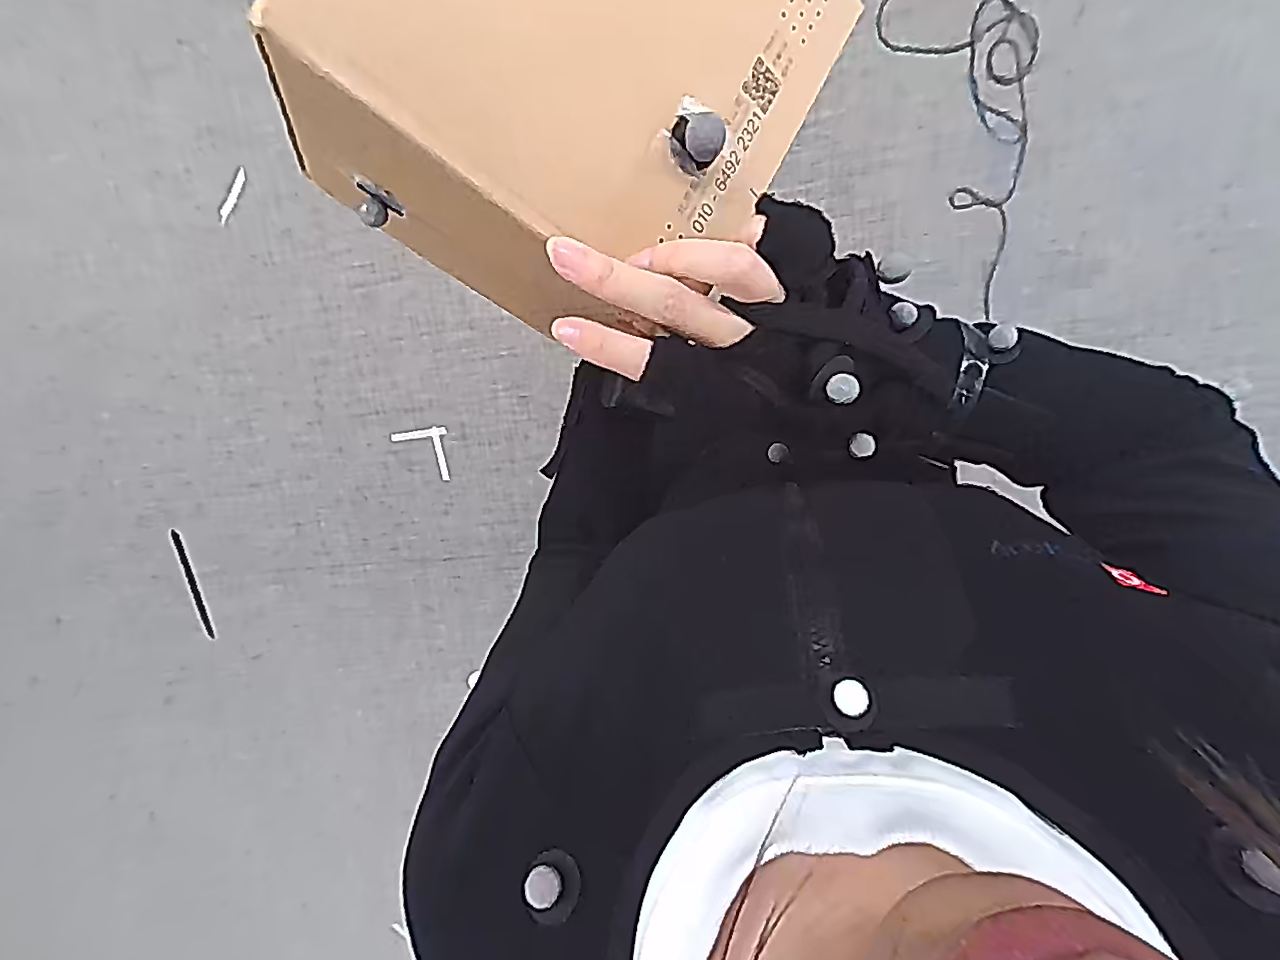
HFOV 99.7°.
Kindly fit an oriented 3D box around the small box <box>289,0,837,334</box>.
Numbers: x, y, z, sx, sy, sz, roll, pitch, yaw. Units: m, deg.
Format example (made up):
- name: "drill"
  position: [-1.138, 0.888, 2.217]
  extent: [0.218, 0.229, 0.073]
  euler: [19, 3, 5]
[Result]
- name: "small box"
  position: [-0.042, -0.189, 0.278]
  extent: [0.176, 0.179, 0.168]
  euler: [27, 90, -30]
